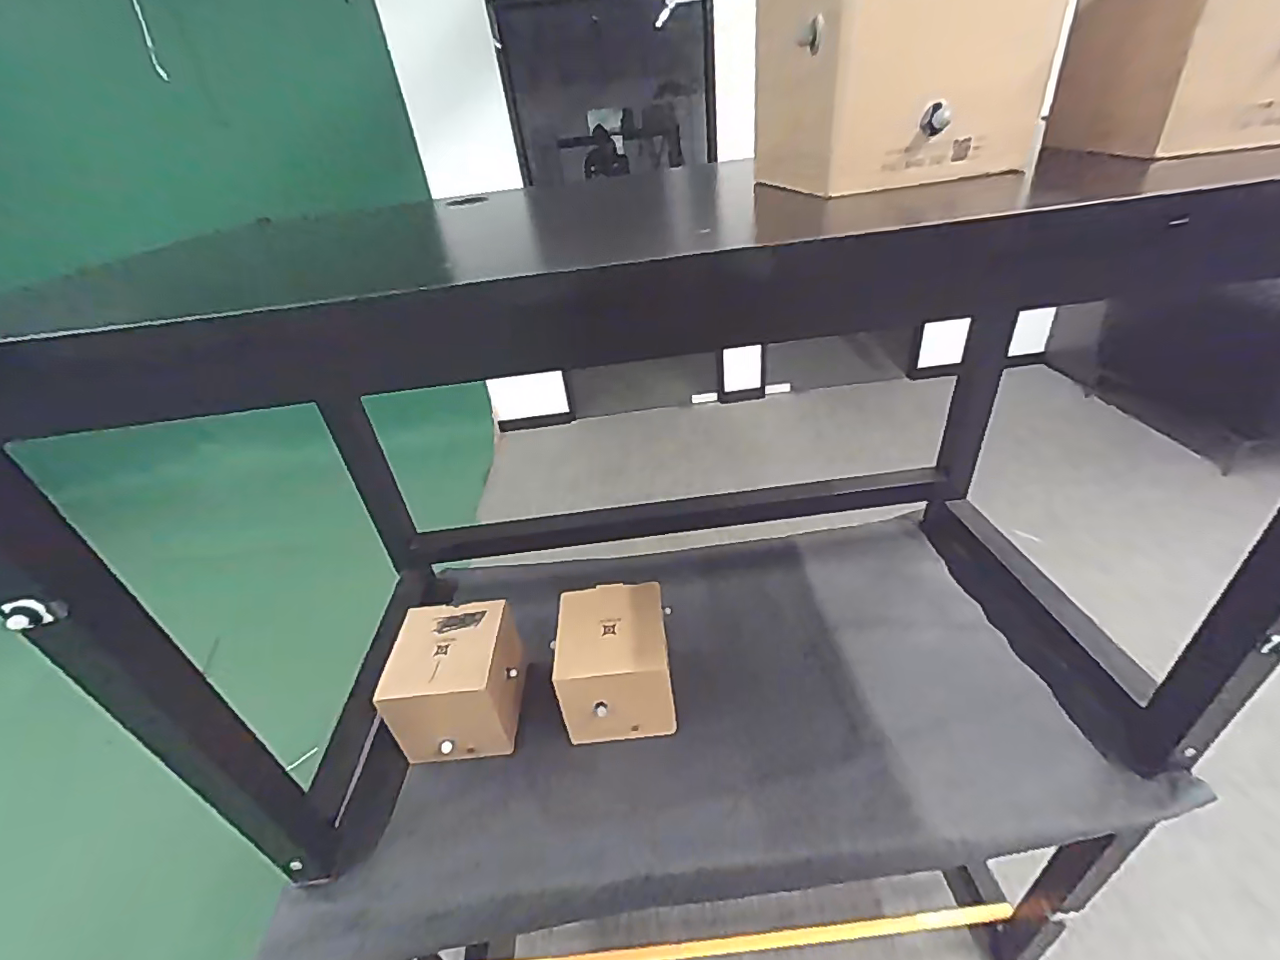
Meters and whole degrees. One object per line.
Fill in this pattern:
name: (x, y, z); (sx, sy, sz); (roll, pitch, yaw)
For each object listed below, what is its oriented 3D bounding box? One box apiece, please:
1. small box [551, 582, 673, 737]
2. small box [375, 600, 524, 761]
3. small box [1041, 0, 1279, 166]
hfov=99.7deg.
small box: (-0.040, 0.294, 0.875); (0.168, 0.176, 0.179); (-7, 33, 1)
small box: (-0.292, 0.322, 0.876); (0.168, 0.176, 0.179); (-7, 34, 1)
small box: (0.448, -0.343, 0.406); (0.168, 0.176, 0.179); (-1, 34, 10)
